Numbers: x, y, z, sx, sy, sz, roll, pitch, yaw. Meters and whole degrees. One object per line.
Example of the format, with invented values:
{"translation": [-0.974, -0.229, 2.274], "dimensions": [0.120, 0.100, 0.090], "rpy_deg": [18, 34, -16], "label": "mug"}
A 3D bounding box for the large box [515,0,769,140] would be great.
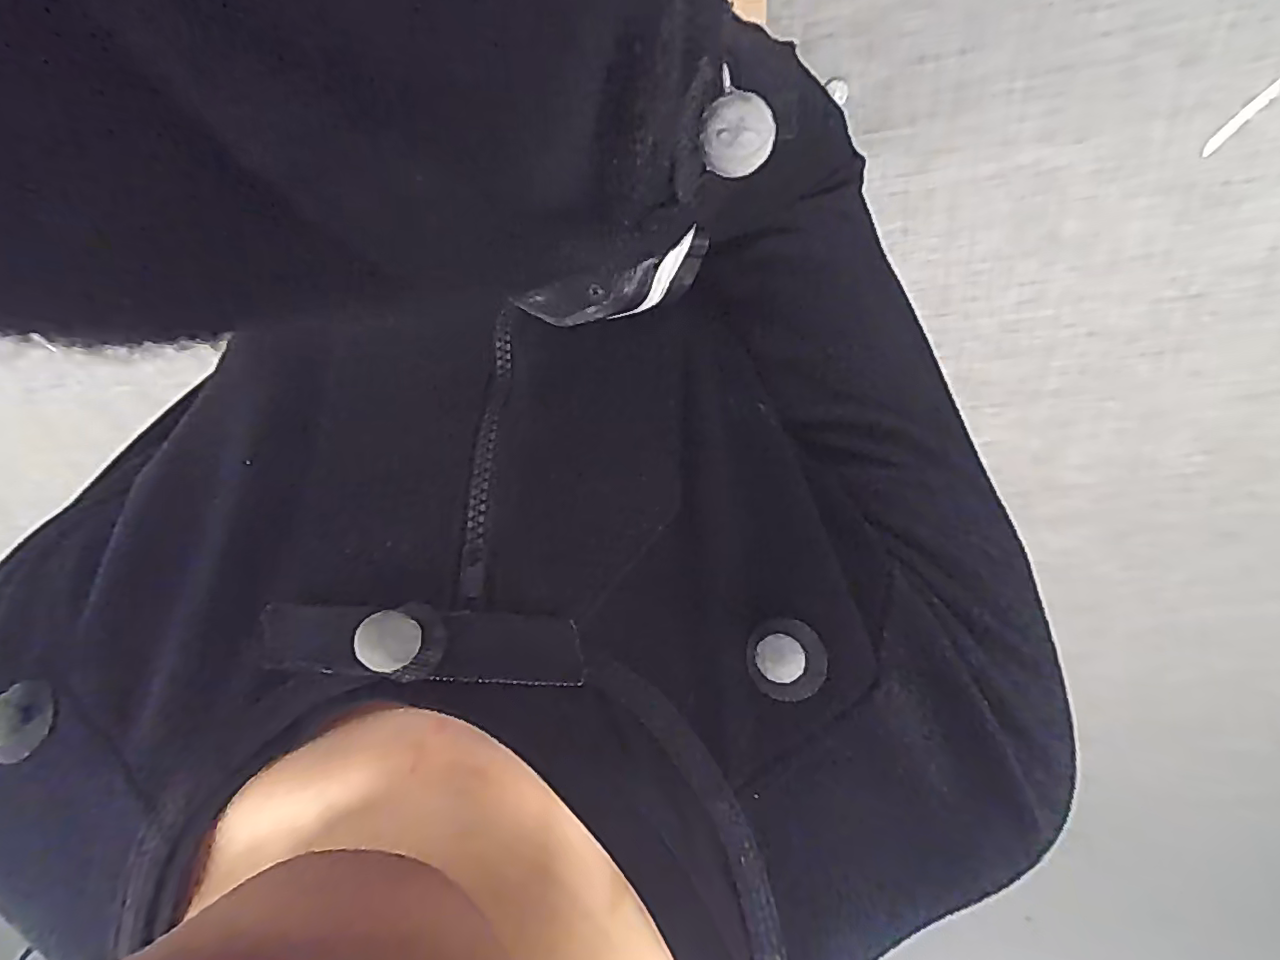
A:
{"translation": [0.005, -0.817, 0.973], "dimensions": [0.408, 0.320, 0.320], "rpy_deg": [-2, 121, 3], "label": "large box"}
